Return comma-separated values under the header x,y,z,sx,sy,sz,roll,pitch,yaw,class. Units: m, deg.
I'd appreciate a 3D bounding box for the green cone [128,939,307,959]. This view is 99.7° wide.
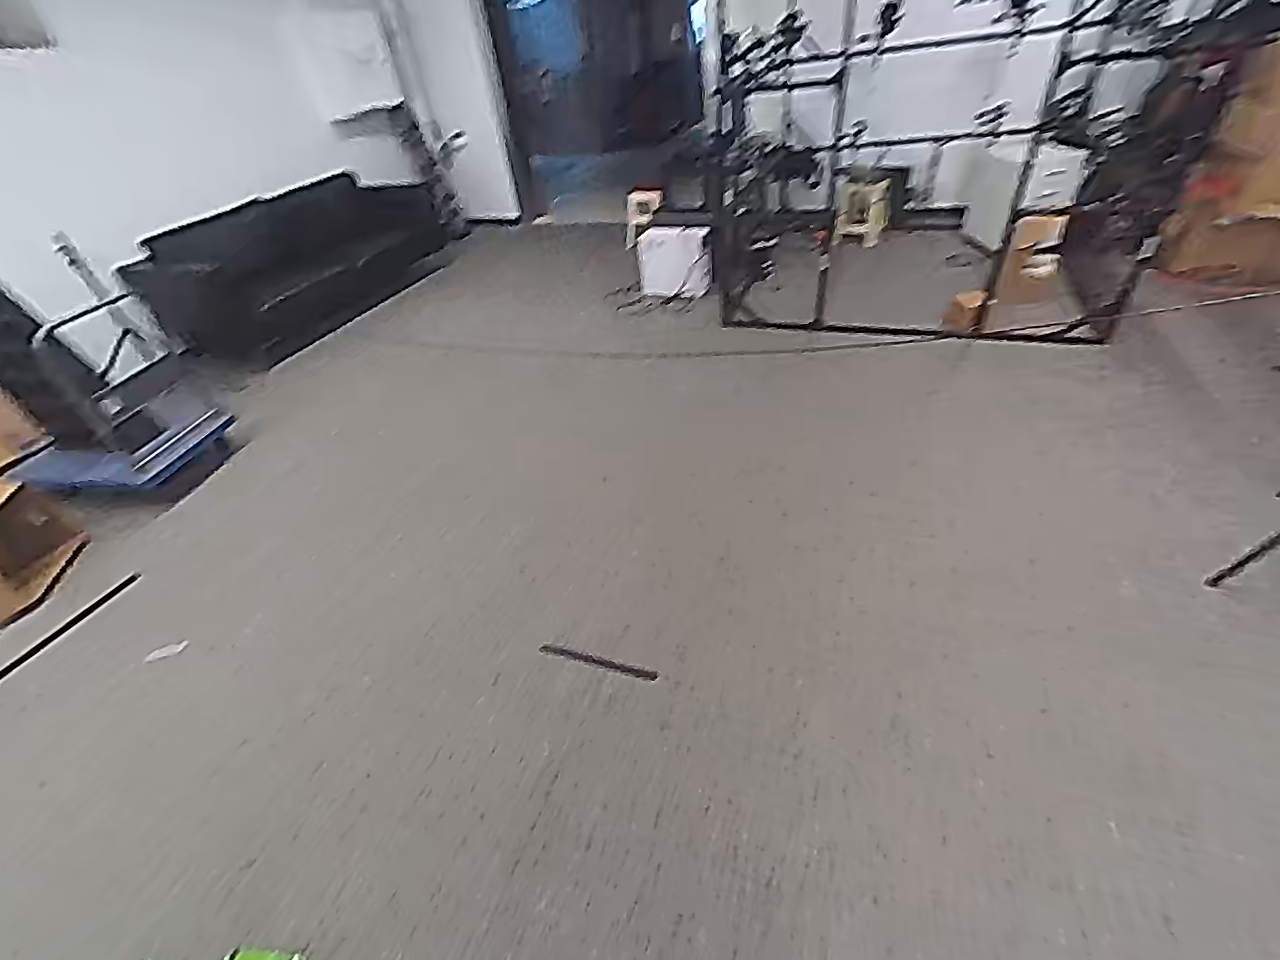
x,y,z,sx,sy,sz,roll,pitch,yaw,class
-0.844,0.960,1.013,0.202,0.368,0.200,0,40,8,green cone
